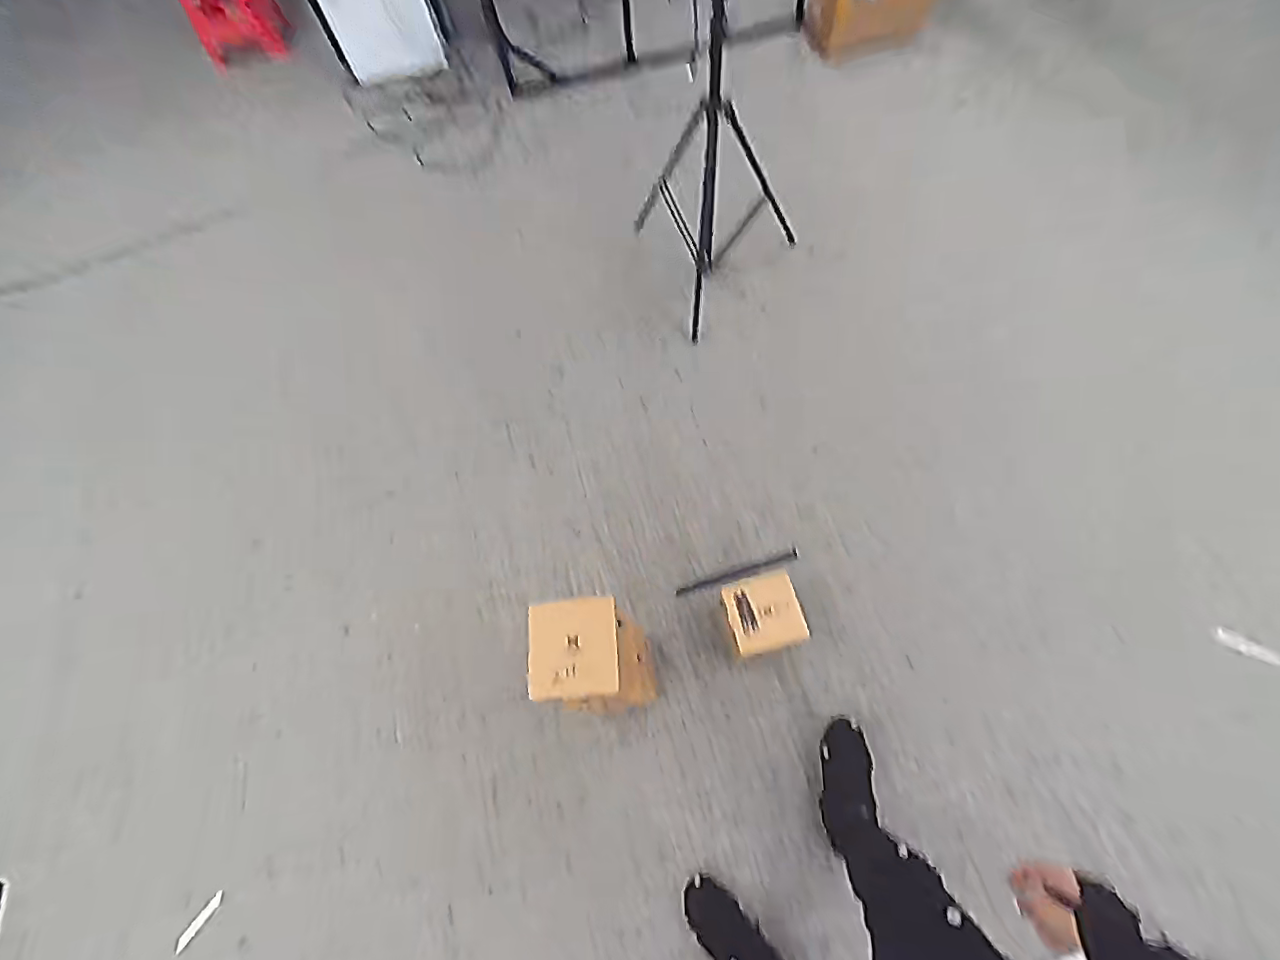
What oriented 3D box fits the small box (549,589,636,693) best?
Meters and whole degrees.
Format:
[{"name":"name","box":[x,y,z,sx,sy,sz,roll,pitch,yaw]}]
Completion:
[{"name":"small box","box":[-0.107,0.353,1.173,0.168,0.176,0.179,-12,65,0]}]

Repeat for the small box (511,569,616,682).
[{"name":"small box","box":[-0.139,0.281,1.027,0.168,0.176,0.179,-6,65,3]}]

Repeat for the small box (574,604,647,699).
[{"name":"small box","box":[-0.083,0.422,1.317,0.168,0.176,0.179,-14,65,-1]}]
